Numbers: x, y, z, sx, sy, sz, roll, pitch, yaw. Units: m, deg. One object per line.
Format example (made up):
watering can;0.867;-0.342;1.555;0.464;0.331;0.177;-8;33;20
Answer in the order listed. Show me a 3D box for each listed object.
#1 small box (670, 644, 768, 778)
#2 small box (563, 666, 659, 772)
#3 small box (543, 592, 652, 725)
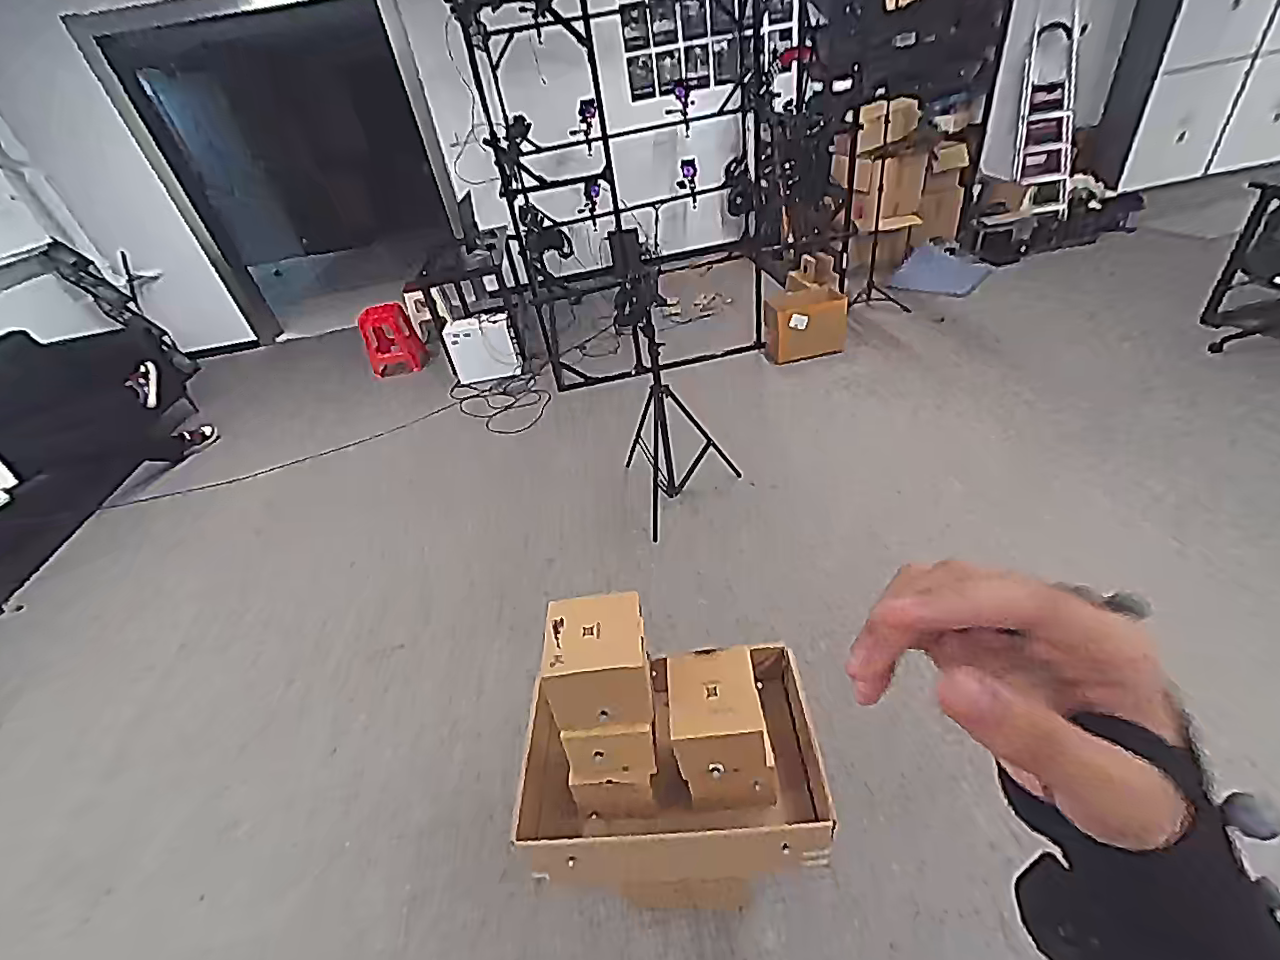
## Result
small box;0.152;0.449;1.055;0.168;0.176;0.179;-9;36;7
small box;-0.052;0.467;1.090;0.168;0.176;0.179;-6;36;3
small box;-0.070;0.331;1.001;0.179;0.176;0.168;-6;36;2
